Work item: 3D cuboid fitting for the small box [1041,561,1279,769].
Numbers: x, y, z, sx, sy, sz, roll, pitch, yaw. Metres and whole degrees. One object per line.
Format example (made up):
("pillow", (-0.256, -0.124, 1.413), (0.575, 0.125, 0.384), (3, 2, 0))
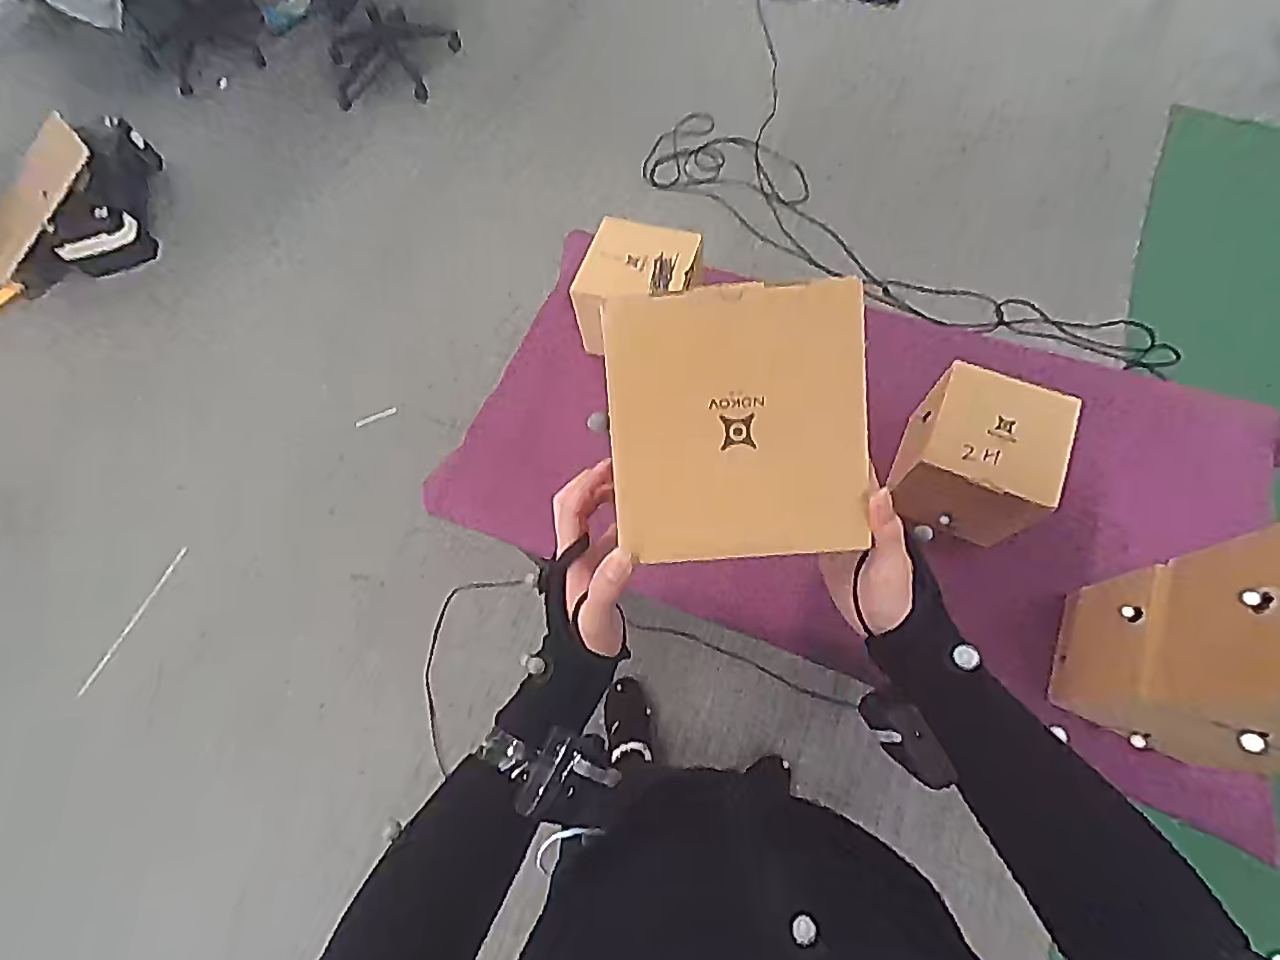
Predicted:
("small box", (0.649, 0.225, 0.665), (0.179, 0.176, 0.168), (24, 70, 13))

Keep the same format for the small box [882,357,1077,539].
("small box", (0.479, -0.039, 0.787), (0.168, 0.176, 0.179), (24, 72, 14))

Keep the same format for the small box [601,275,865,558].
("small box", (0.063, -0.045, 0.429), (0.168, 0.176, 0.179), (-4, 94, 1))

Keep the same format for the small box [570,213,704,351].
("small box", (0.002, -0.323, 0.938), (0.179, 0.176, 0.168), (16, 70, 11))
